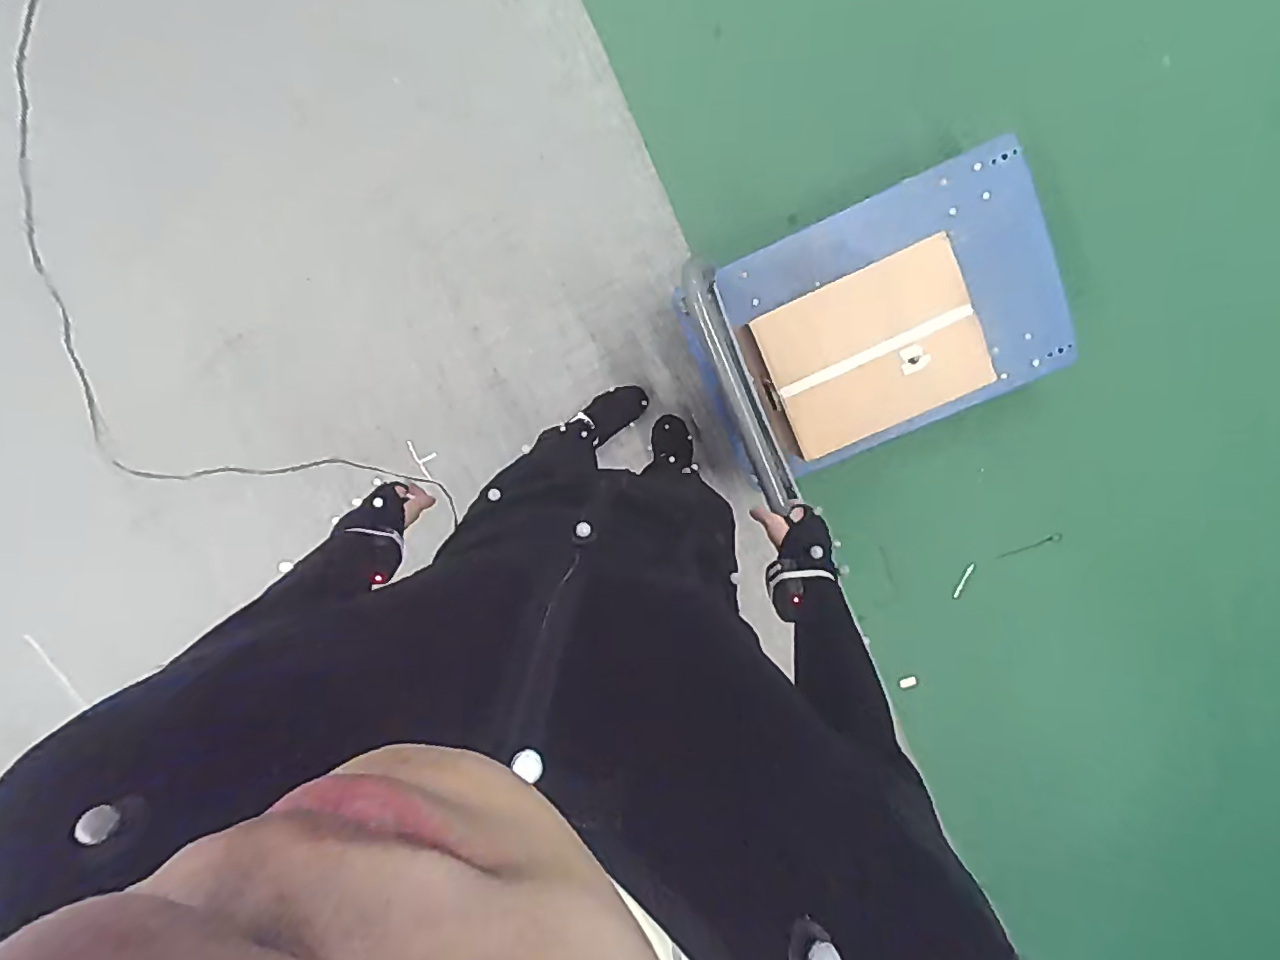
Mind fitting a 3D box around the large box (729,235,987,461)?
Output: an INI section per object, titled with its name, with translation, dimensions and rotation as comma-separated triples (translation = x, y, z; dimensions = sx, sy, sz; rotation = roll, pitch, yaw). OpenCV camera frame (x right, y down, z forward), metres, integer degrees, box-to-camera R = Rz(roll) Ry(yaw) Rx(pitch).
[large box]
translation = 0.457, -0.279, 1.220
dimensions = 0.408, 0.320, 0.320
rotation = -23, 100, 6
